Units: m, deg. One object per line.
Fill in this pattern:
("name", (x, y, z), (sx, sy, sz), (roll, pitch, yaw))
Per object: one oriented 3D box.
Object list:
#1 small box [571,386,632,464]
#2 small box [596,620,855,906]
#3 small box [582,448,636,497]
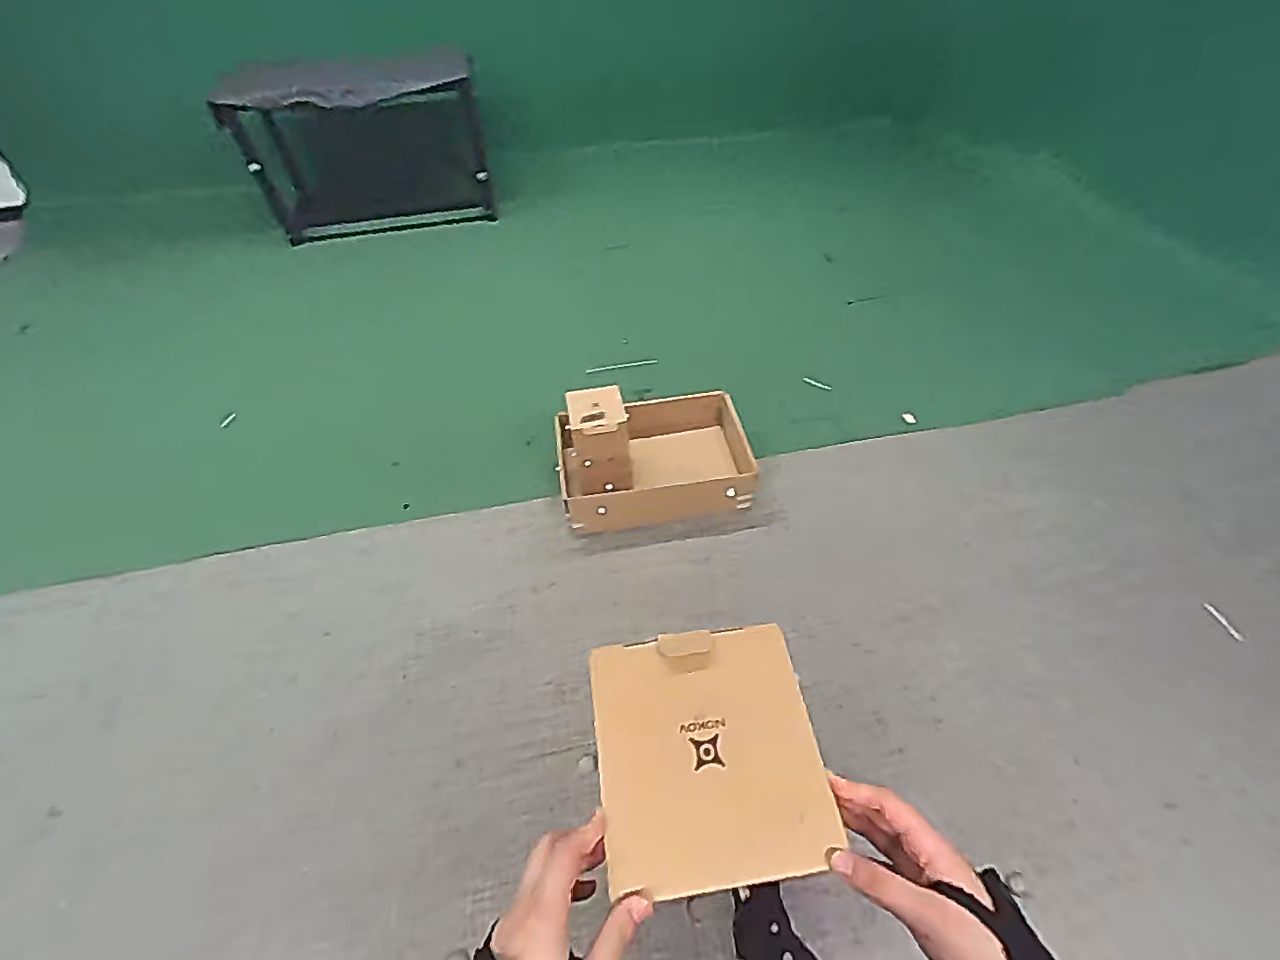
("small box", (-0.117, -0.164, 1.668), (0.168, 0.176, 0.179), (-8, 50, -6))
("small box", (0.056, 0.246, 0.469), (0.168, 0.176, 0.179), (-7, 51, -5))
("small box", (-0.110, -0.068, 1.802), (0.168, 0.176, 0.179), (-10, 51, -6))
